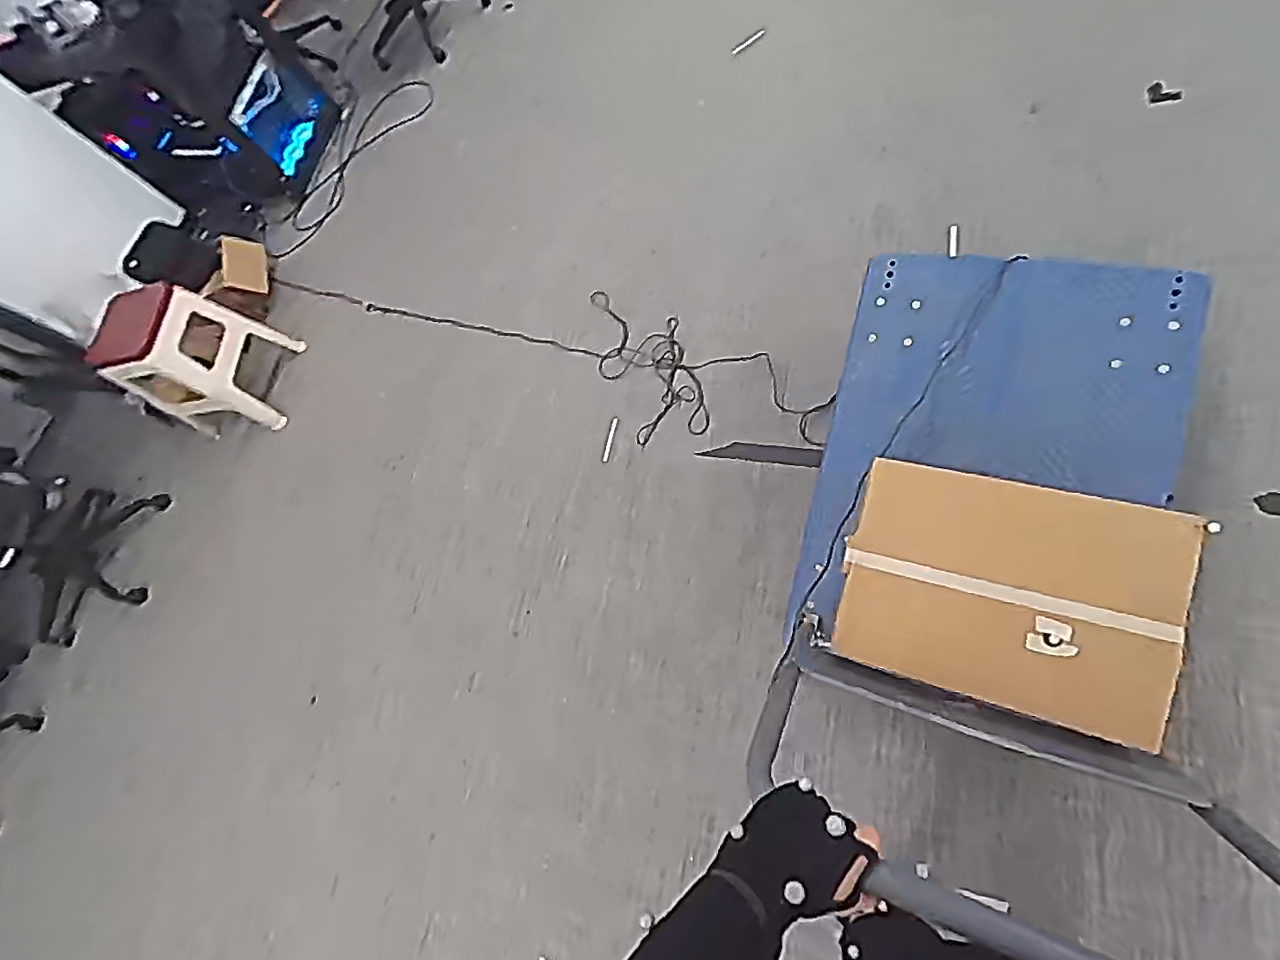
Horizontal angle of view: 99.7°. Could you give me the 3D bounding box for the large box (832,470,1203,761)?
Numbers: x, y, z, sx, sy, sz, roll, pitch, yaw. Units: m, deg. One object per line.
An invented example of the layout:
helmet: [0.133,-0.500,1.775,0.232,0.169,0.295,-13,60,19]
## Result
large box: [0.555,0.187,0.896,0.408,0.320,0.320,14,89,21]
